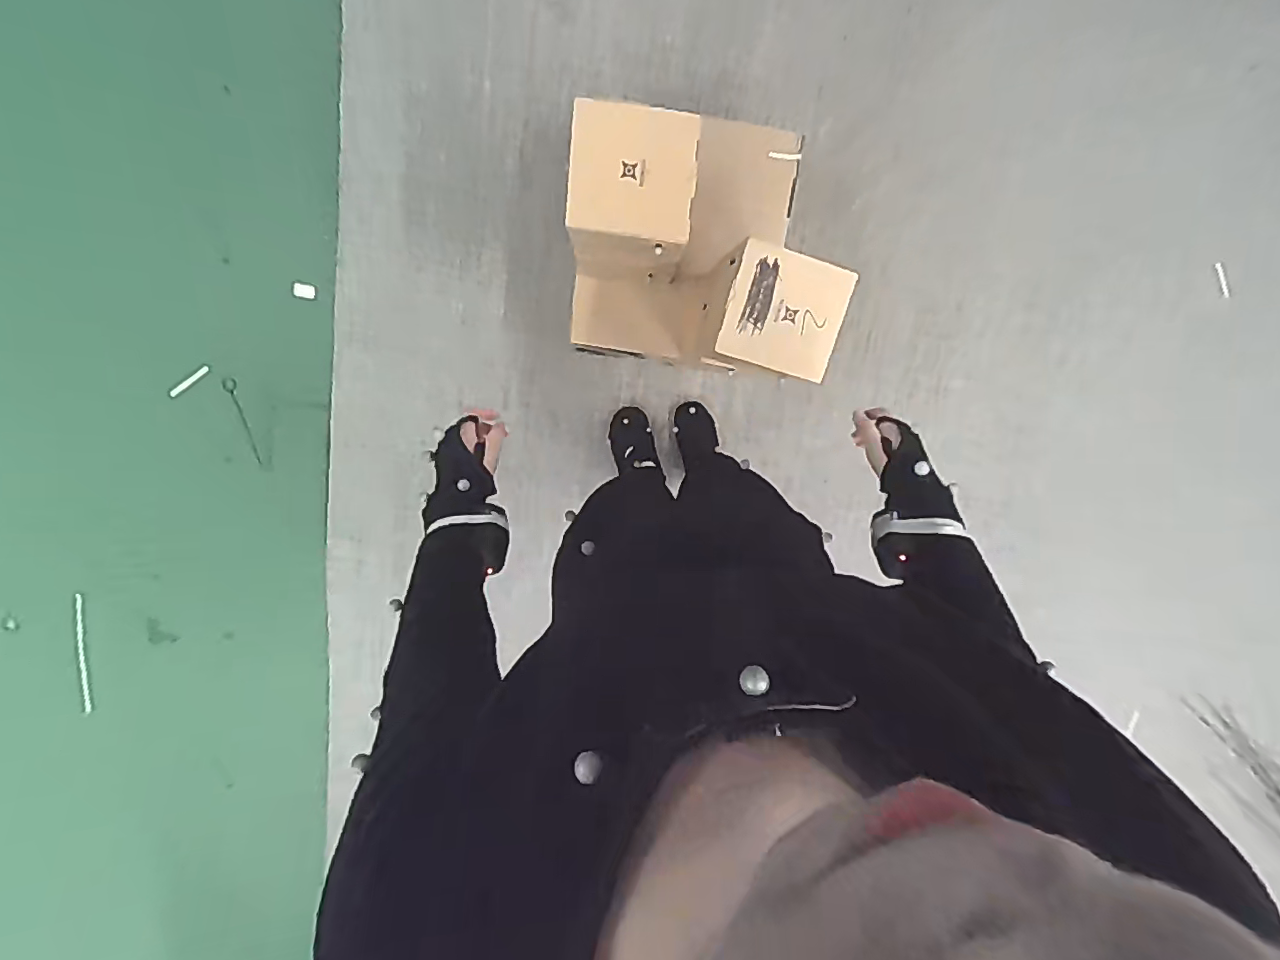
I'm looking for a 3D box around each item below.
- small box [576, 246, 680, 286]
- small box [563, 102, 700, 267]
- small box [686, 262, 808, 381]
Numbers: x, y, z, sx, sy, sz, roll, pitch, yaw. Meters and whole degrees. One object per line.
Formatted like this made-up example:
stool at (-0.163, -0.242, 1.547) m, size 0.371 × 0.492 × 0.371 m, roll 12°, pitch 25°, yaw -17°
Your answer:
small box at (-0.020, -0.459, 0.984) m, size 0.179 × 0.176 × 0.168 m, roll 5°, pitch 99°, yaw -3°
small box at (-0.017, -0.434, 0.822) m, size 0.179 × 0.176 × 0.168 m, roll 5°, pitch 99°, yaw -5°
small box at (0.192, -0.291, 1.026) m, size 0.168 × 0.176 × 0.179 m, roll 11°, pitch 100°, yaw -6°
